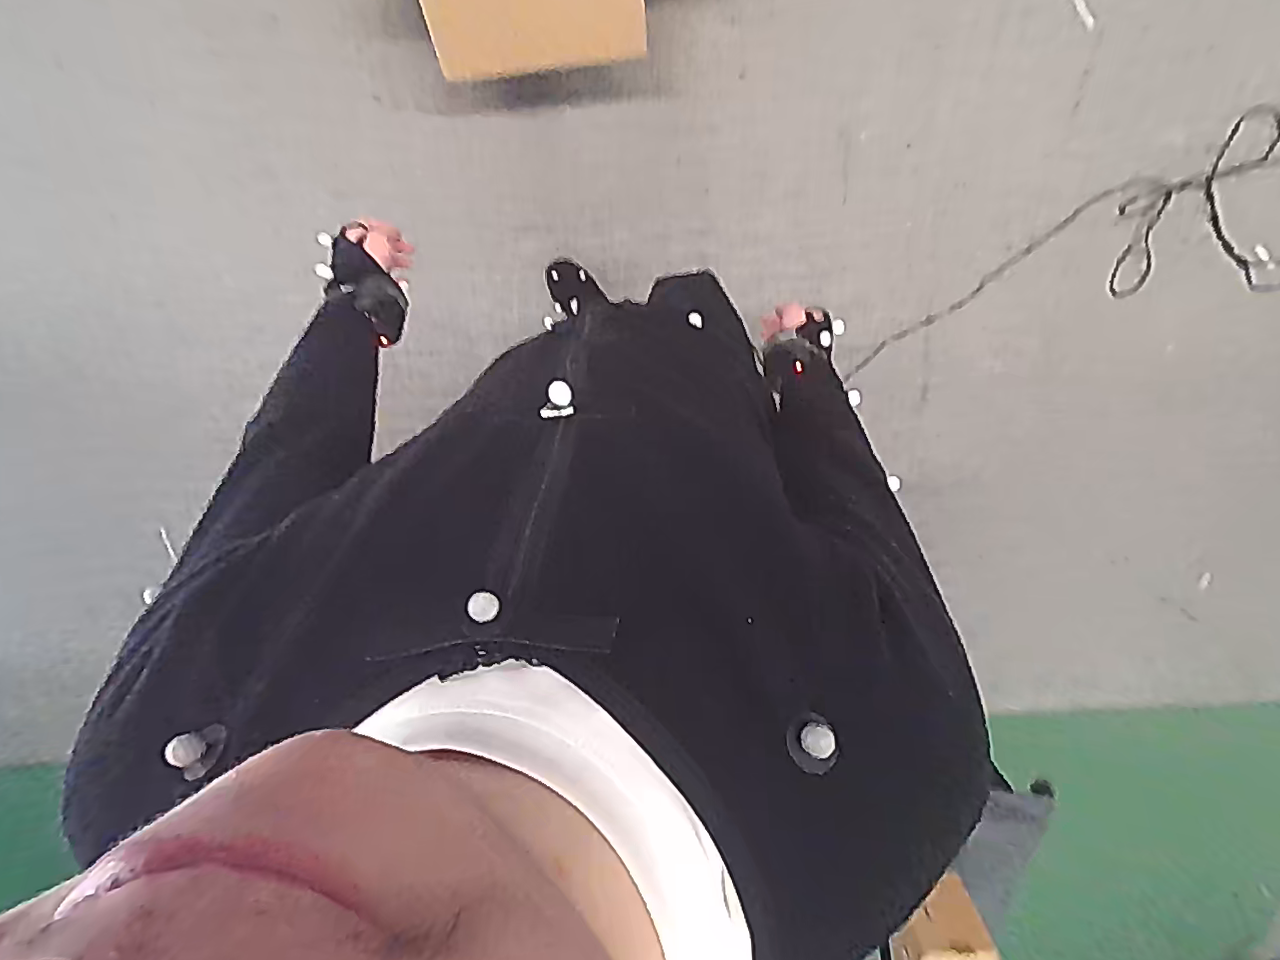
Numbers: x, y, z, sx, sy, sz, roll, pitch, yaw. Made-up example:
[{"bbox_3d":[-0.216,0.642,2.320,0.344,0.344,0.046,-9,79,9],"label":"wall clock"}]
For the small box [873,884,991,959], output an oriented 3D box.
[{"bbox_3d":[0.666,1.075,1.256,0.168,0.176,0.179,2,114,-2],"label":"small box"}]
